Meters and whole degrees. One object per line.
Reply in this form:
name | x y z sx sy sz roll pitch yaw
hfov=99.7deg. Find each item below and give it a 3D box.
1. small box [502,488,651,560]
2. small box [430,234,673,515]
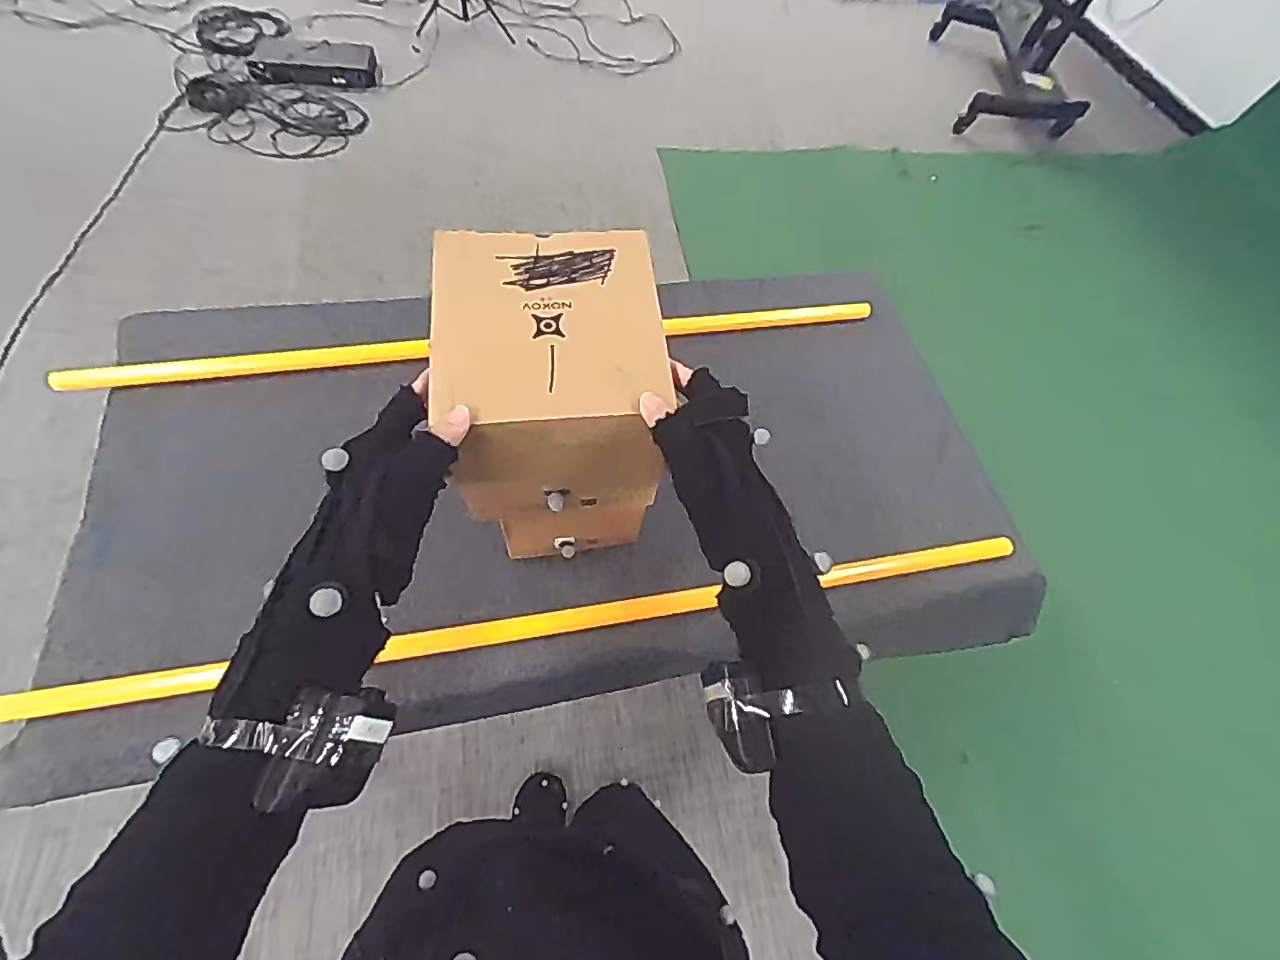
small box | -0.093 -0.019 0.674 0.168 0.176 0.179 -9 64 -11
small box | -0.074 -0.085 0.470 0.168 0.176 0.179 -5 66 -7
